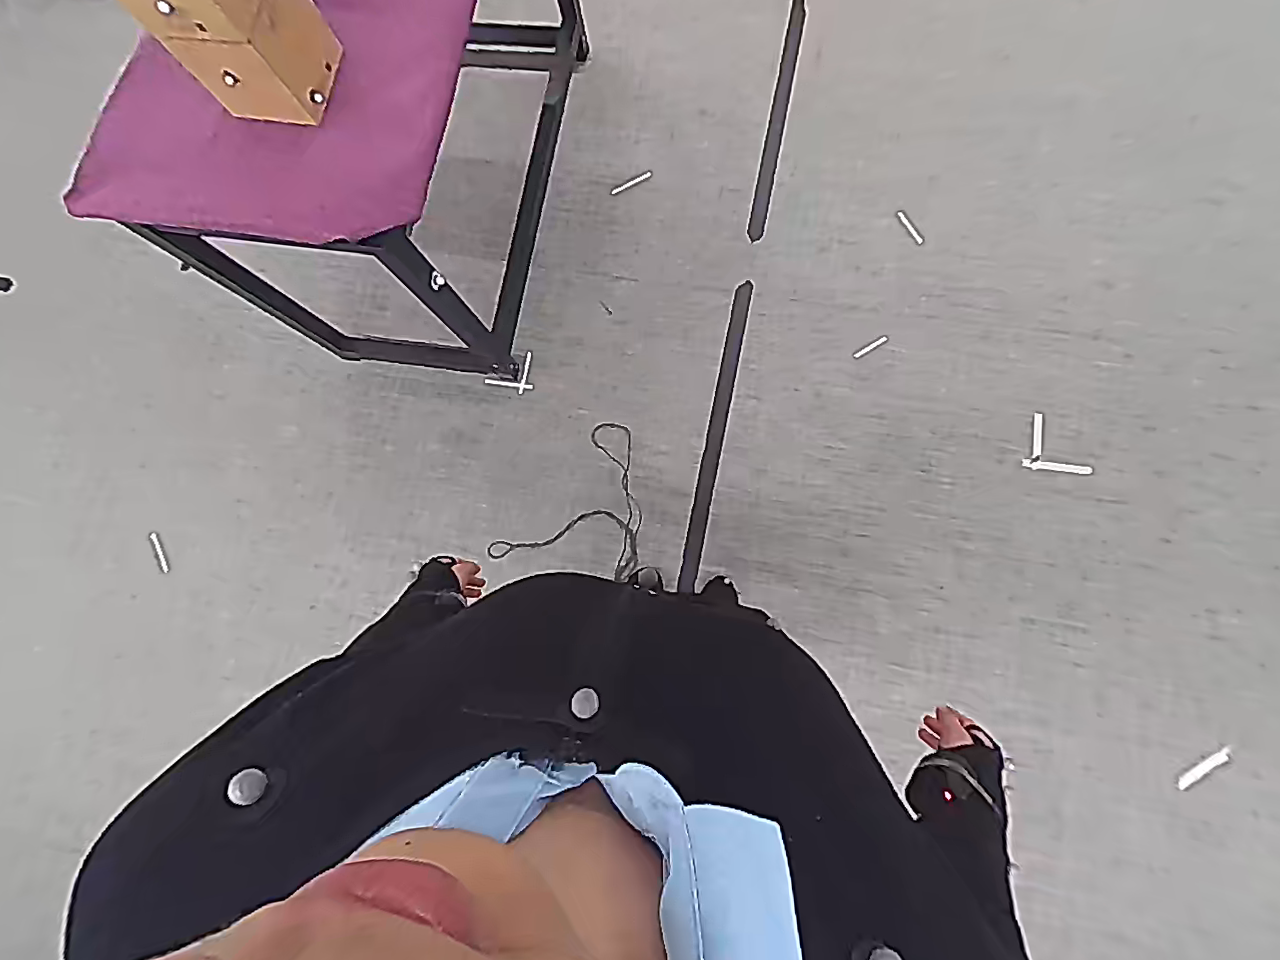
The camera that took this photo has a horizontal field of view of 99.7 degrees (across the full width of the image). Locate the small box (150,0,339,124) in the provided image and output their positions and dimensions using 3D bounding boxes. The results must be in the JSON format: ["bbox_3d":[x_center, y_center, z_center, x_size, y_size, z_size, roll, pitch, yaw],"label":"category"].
[{"bbox_3d":[-0.655,-0.744,0.919,0.179,0.176,0.168,10,81,7],"label":"small box"}]

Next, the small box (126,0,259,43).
[{"bbox_3d":[-0.661,-0.768,0.755,0.168,0.176,0.179,9,81,7],"label":"small box"}]
